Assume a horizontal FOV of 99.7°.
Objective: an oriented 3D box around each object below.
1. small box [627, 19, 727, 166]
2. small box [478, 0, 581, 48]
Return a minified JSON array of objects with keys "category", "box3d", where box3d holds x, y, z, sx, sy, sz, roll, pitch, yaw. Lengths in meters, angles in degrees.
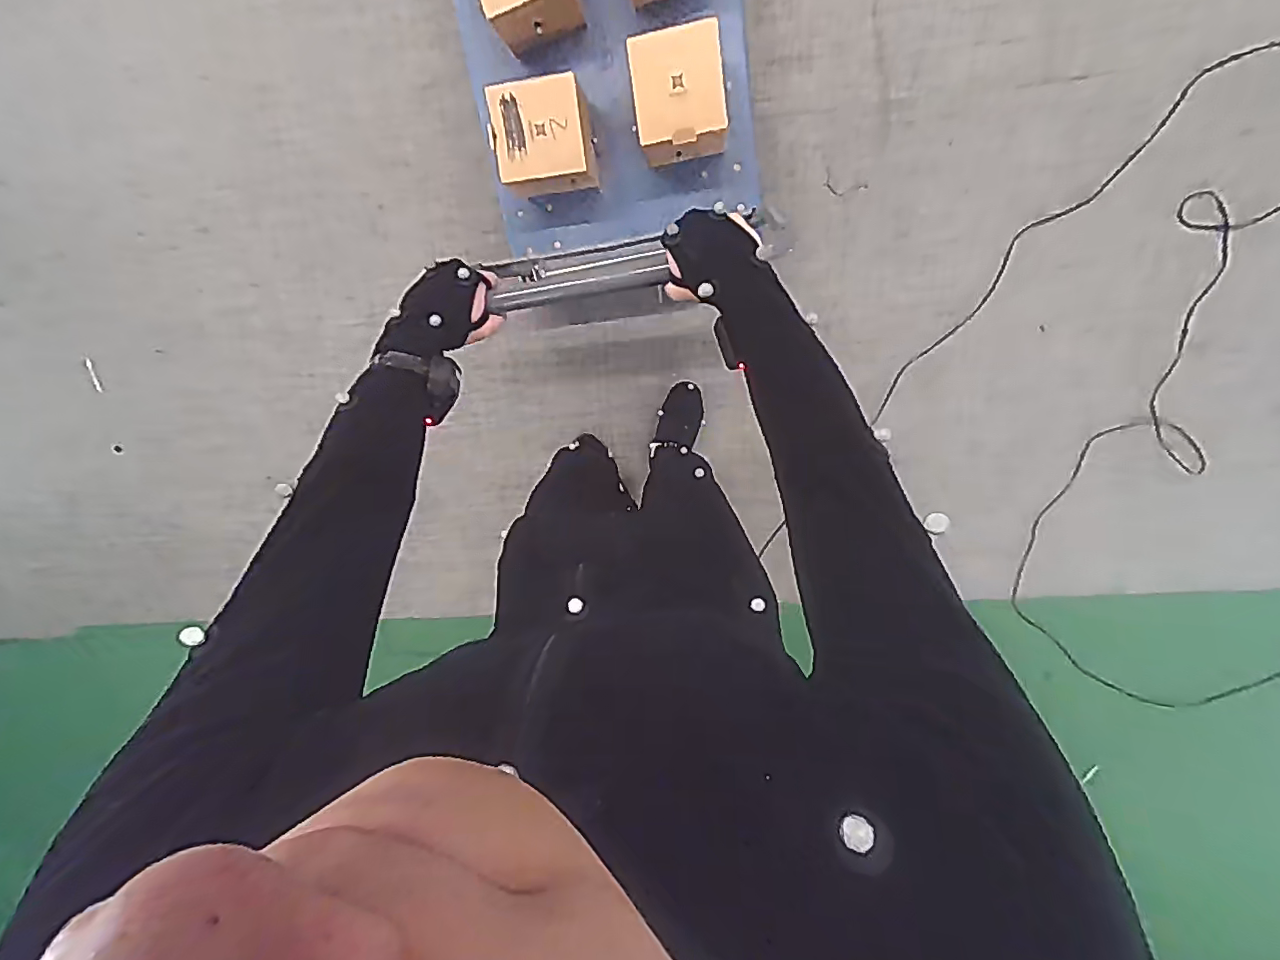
[{"category":"small box","box3d":[0.075,-0.744,1.059,0.168,0.176,0.179,-7,109,8]},{"category":"small box","box3d":[-0.221,-0.953,1.012,0.168,0.176,0.179,-15,107,9]}]
